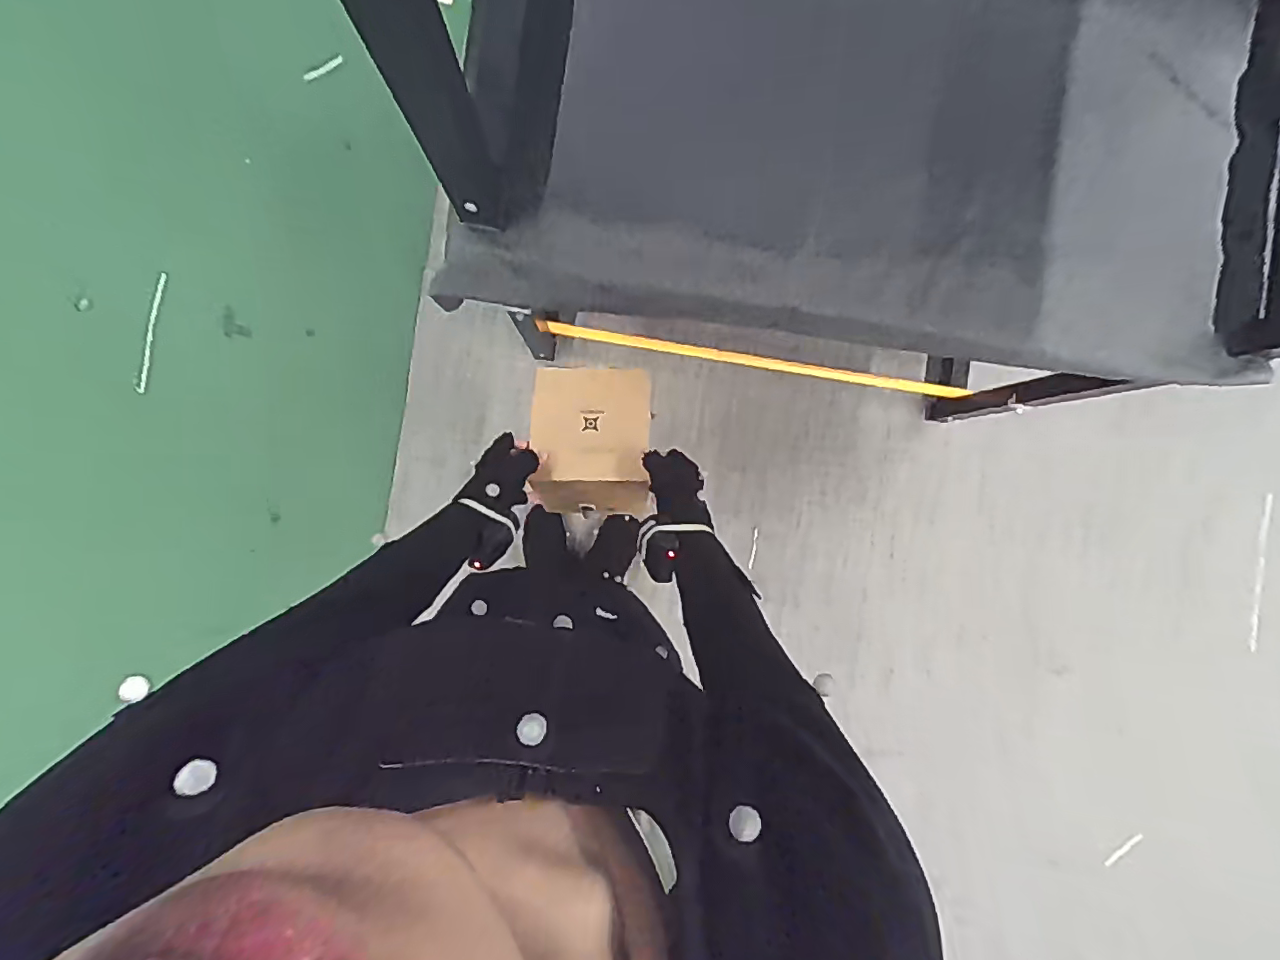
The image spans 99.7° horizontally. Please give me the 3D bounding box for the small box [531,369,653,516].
[{"bbox_3d":[-0.064,-0.052,0.829,0.168,0.176,0.179,0,71,1],"label":"small box"}]
